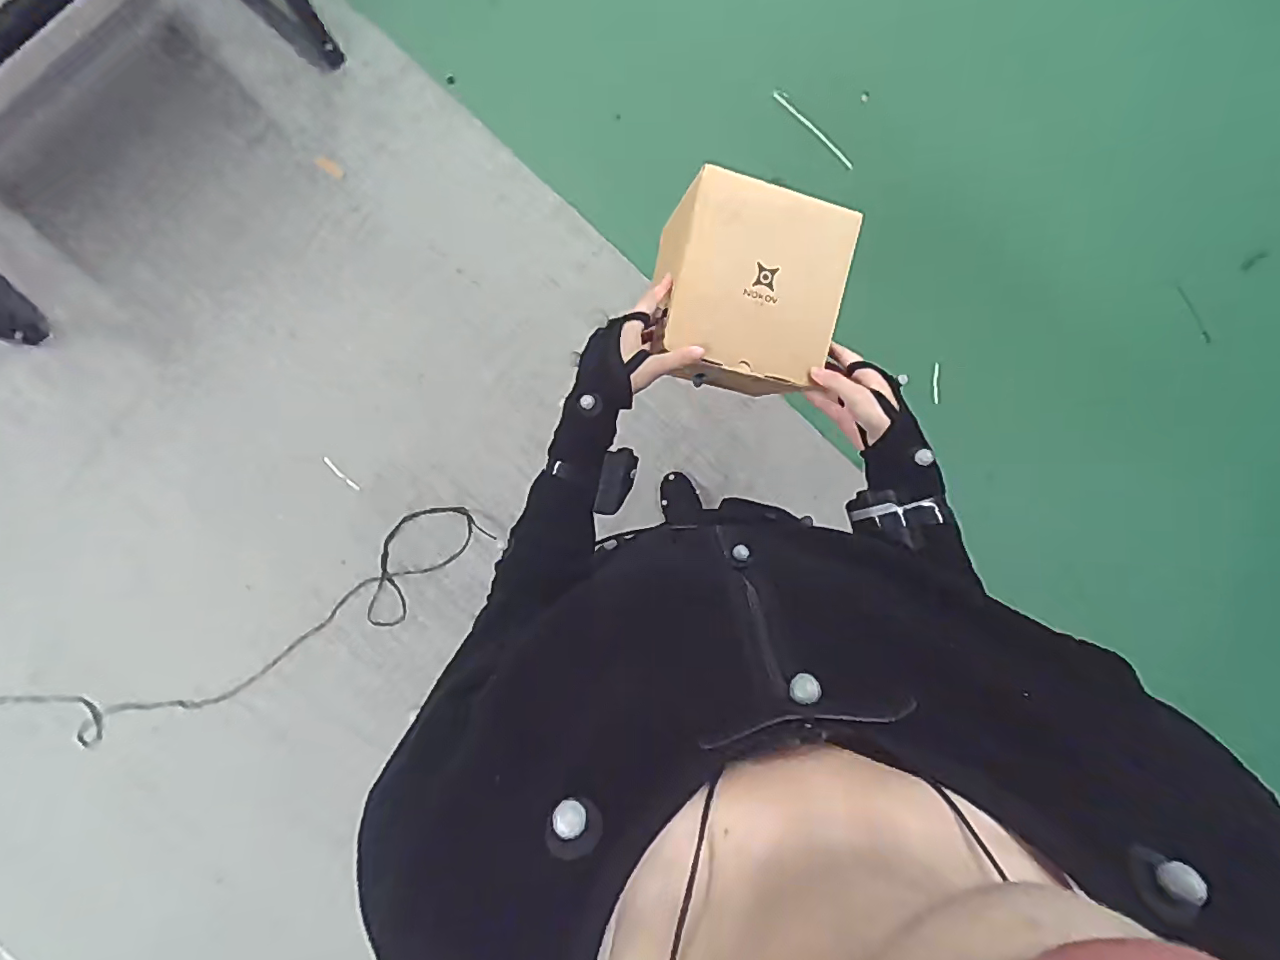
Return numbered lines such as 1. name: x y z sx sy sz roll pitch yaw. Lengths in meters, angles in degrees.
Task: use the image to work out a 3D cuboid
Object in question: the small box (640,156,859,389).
1. small box: 0.102 -0.204 0.587 0.168 0.176 0.179 11 95 -10
